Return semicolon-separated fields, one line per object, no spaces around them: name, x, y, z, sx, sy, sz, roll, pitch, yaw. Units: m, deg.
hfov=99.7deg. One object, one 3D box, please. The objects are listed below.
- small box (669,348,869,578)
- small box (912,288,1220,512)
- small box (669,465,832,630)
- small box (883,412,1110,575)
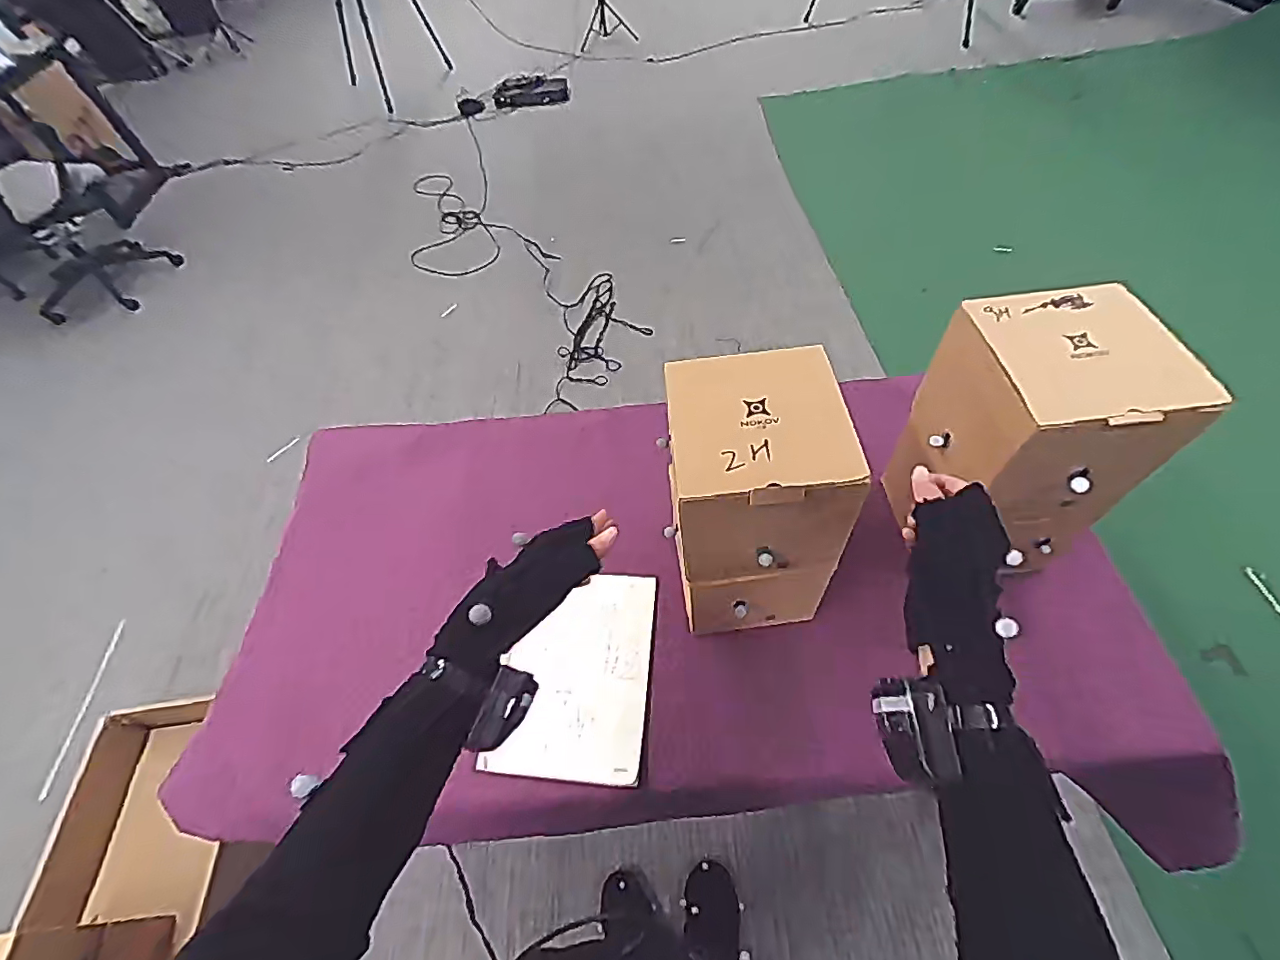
small box;0.119;-0.014;0.577;0.168;0.176;0.179;-5;54;4
small box;0.425;-0.076;0.583;0.168;0.176;0.179;-5;56;2
small box;0.134;0.086;0.708;0.168;0.176;0.179;-8;54;1
small box;0.447;0.017;0.717;0.168;0.176;0.179;-5;55;3
